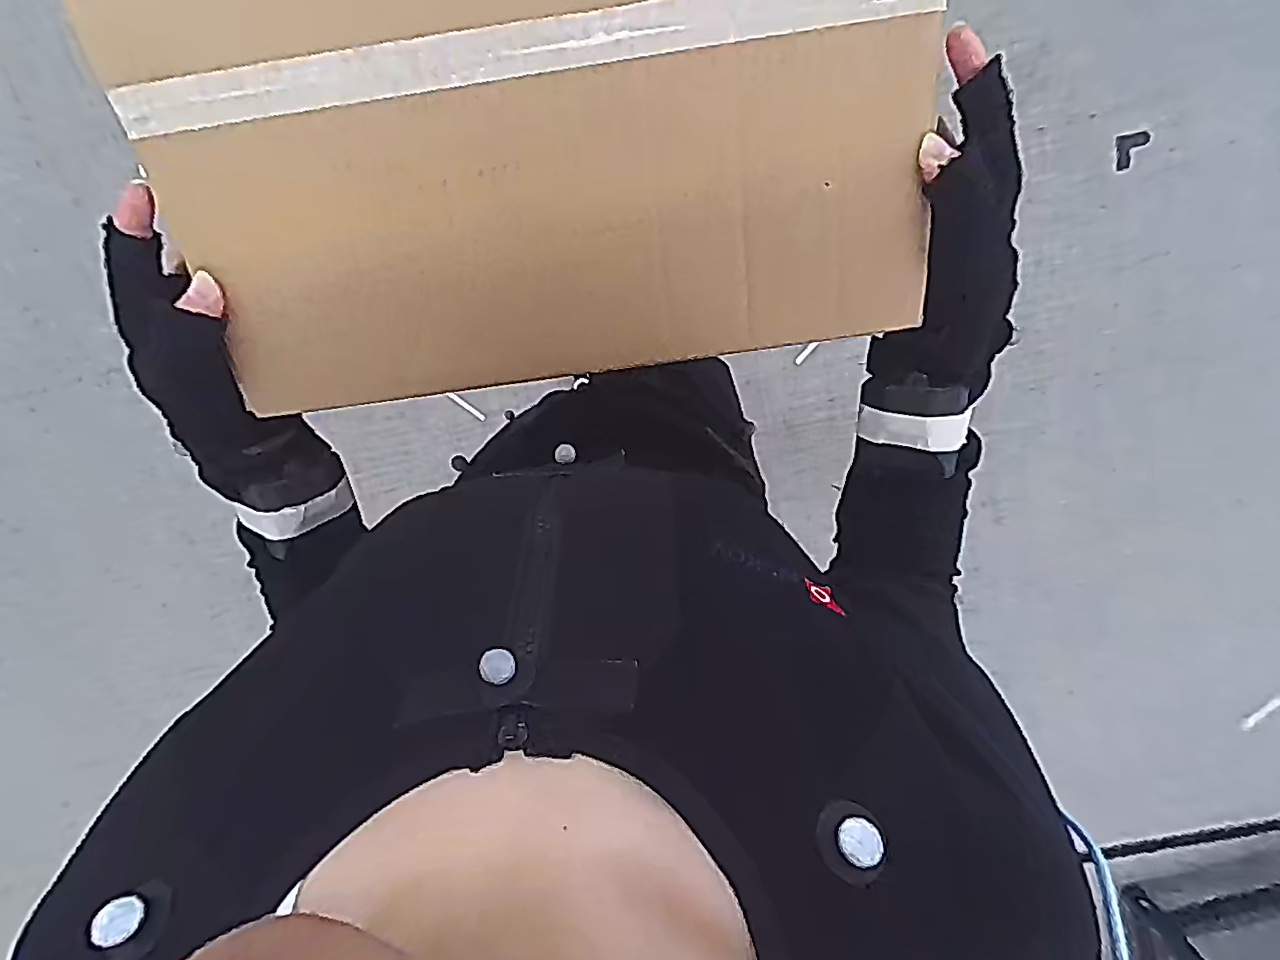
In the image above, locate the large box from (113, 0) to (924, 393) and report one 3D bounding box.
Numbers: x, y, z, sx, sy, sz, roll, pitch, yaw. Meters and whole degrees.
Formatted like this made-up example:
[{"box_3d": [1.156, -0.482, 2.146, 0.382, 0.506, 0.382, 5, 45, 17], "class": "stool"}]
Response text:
[{"box_3d": [-0.060, -0.277, 0.410, 0.408, 0.320, 0.320, -8, 114, 2], "class": "large box"}]
